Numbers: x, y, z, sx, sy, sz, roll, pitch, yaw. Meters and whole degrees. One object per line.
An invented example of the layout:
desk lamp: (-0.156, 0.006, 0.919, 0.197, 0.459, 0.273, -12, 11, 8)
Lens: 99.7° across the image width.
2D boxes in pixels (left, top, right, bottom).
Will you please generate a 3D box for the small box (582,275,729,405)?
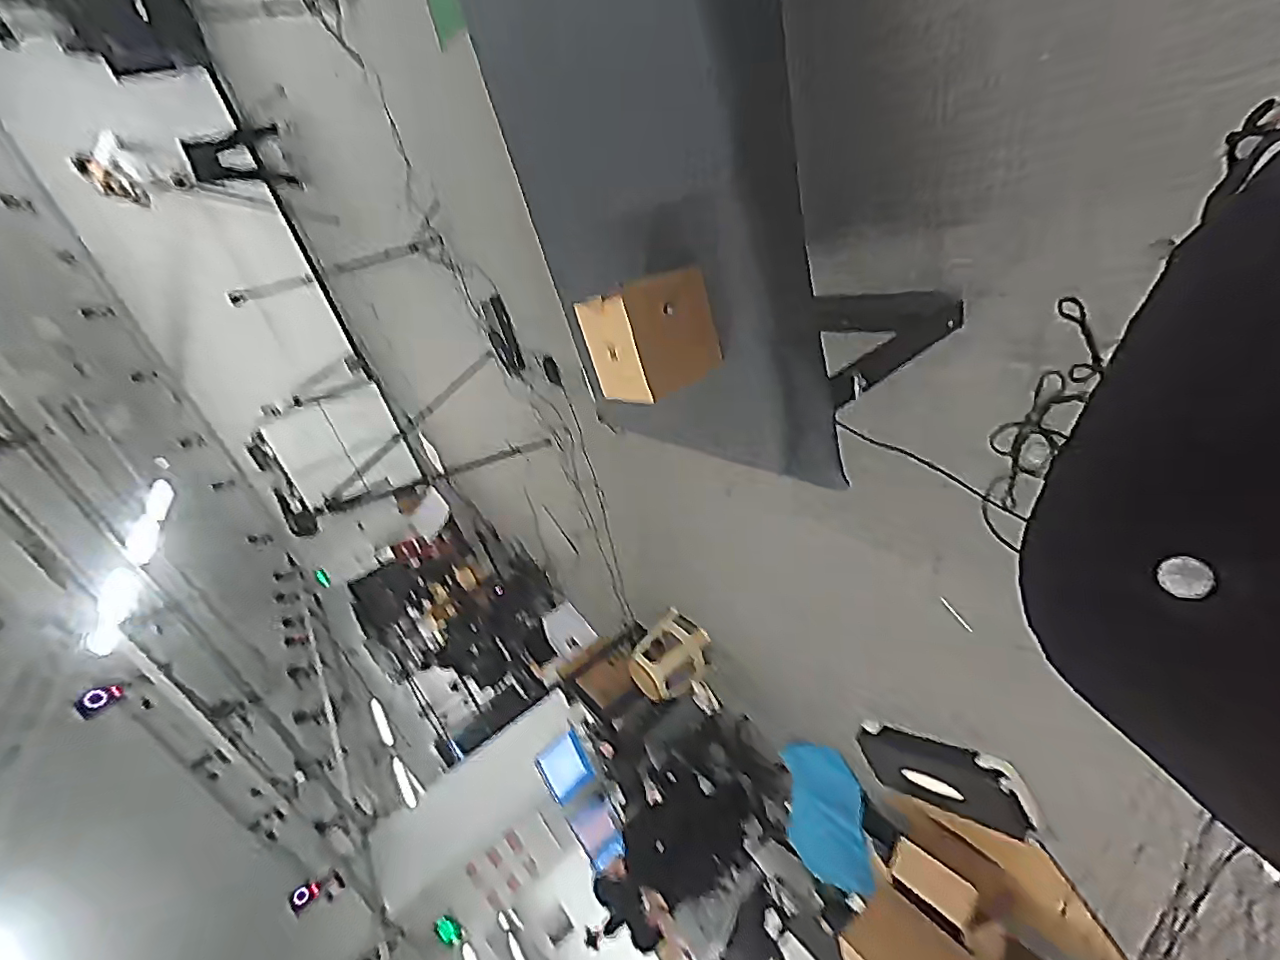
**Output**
small box: (0.030, -0.249, 0.952, 0.168, 0.176, 0.179, 18, 133, 55)
